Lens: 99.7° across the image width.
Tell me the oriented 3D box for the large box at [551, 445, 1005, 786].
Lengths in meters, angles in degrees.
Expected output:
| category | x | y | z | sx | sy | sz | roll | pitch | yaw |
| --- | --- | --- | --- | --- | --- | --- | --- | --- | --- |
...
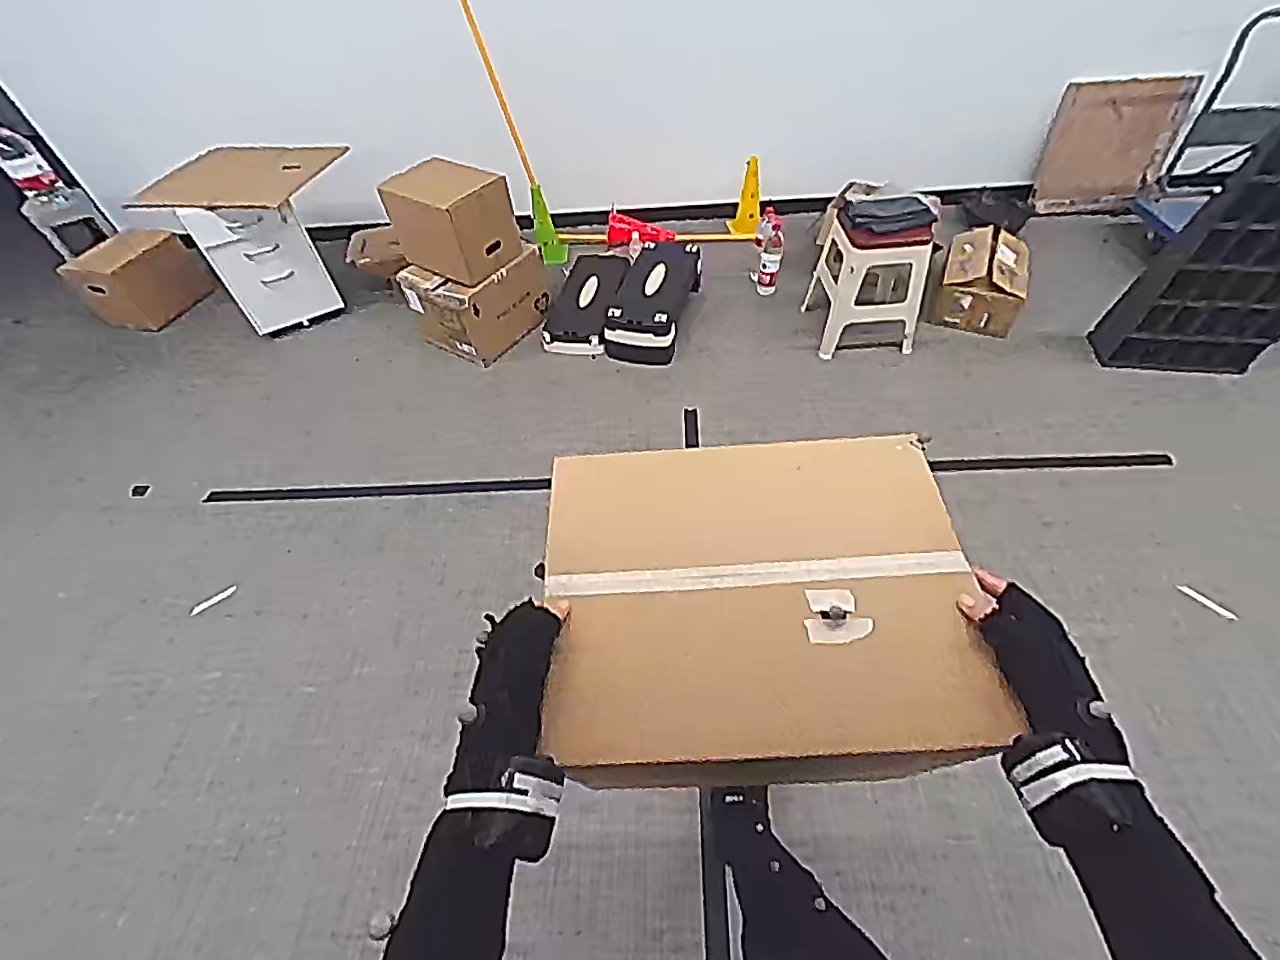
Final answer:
| category | x | y | z | sx | sy | sz | roll | pitch | yaw |
| --- | --- | --- | --- | --- | --- | --- | --- | --- | --- |
| large box | 0.118 | 0.182 | 0.671 | 0.408 | 0.320 | 0.320 | -4 | 58 | 2 |
